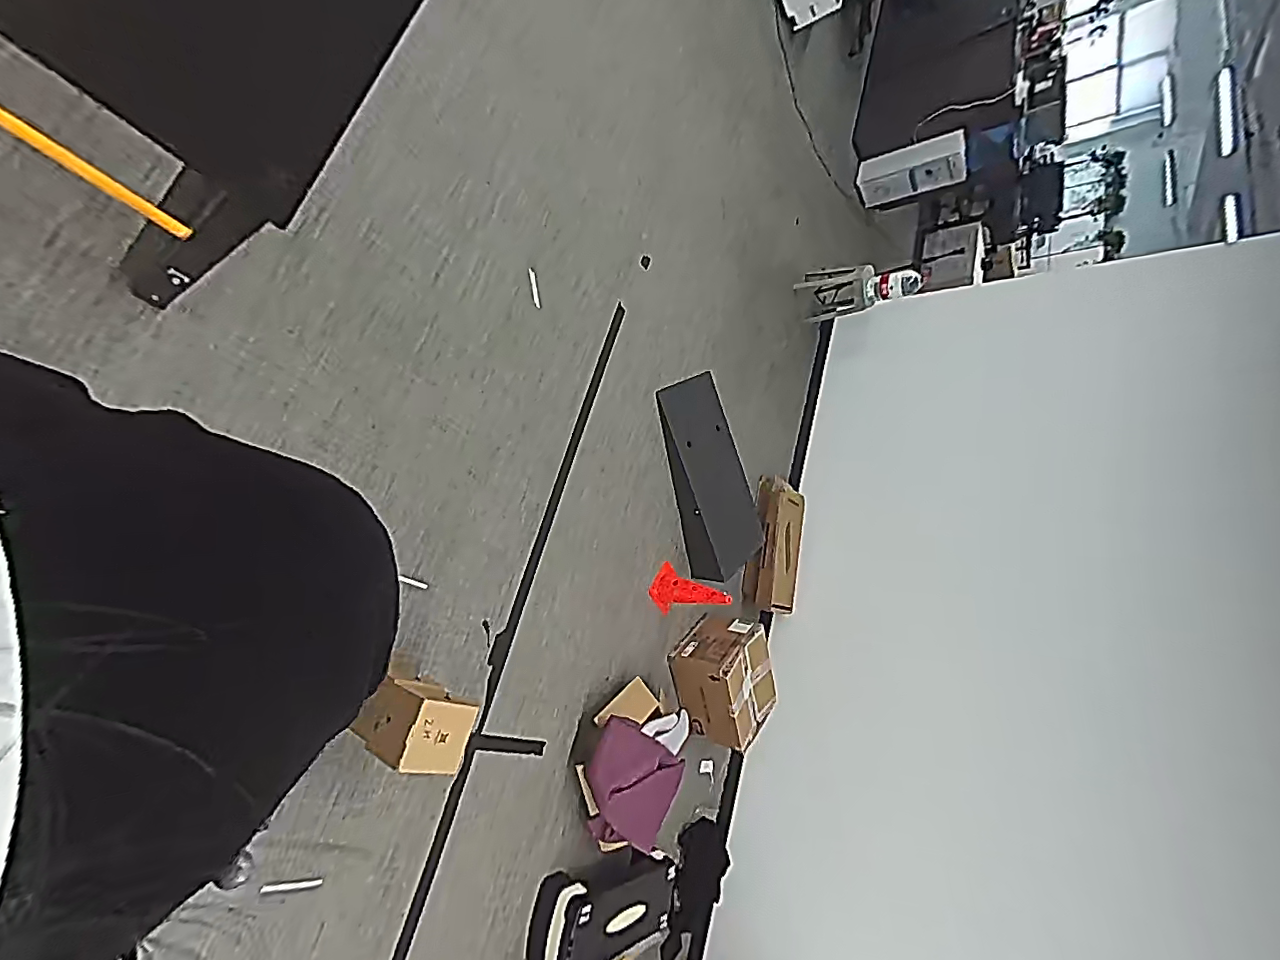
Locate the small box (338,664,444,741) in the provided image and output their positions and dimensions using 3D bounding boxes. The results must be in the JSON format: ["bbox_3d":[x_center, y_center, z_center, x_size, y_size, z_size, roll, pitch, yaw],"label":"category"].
[{"bbox_3d":[-0.688,0.621,1.494,0.179,0.176,0.168,36,64,-45],"label":"small box"}]

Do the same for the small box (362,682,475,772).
[{"bbox_3d":[-0.566,0.629,1.383,0.179,0.176,0.168,37,63,-46],"label":"small box"}]
